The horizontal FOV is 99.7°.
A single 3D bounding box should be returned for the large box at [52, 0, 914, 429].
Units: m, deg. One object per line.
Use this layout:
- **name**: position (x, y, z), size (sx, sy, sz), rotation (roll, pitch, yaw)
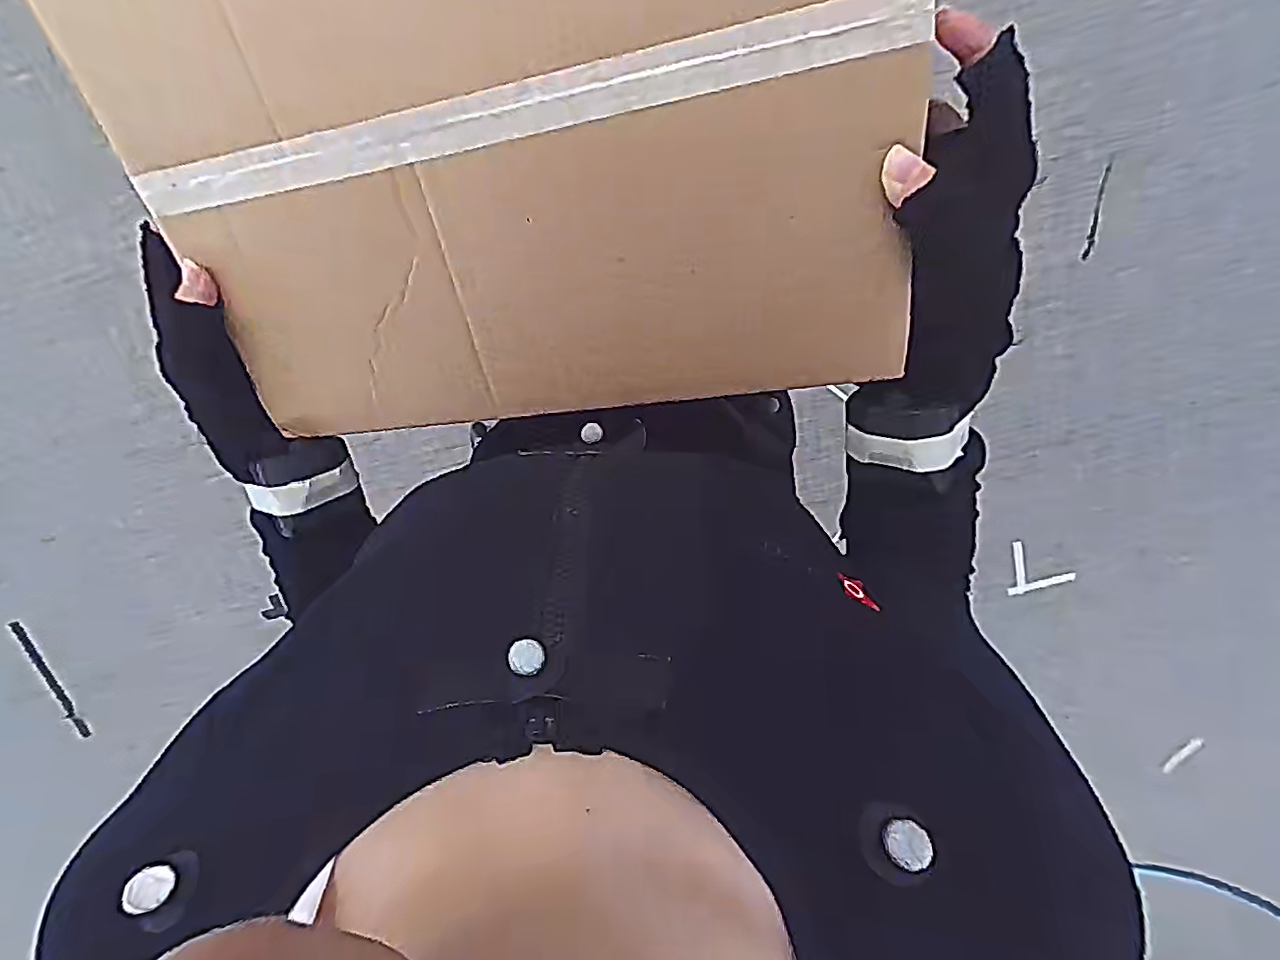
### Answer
- **large box**: position (-0.055, -0.260, 0.389), size (0.408, 0.320, 0.320), rotation (-4, 122, 13)
